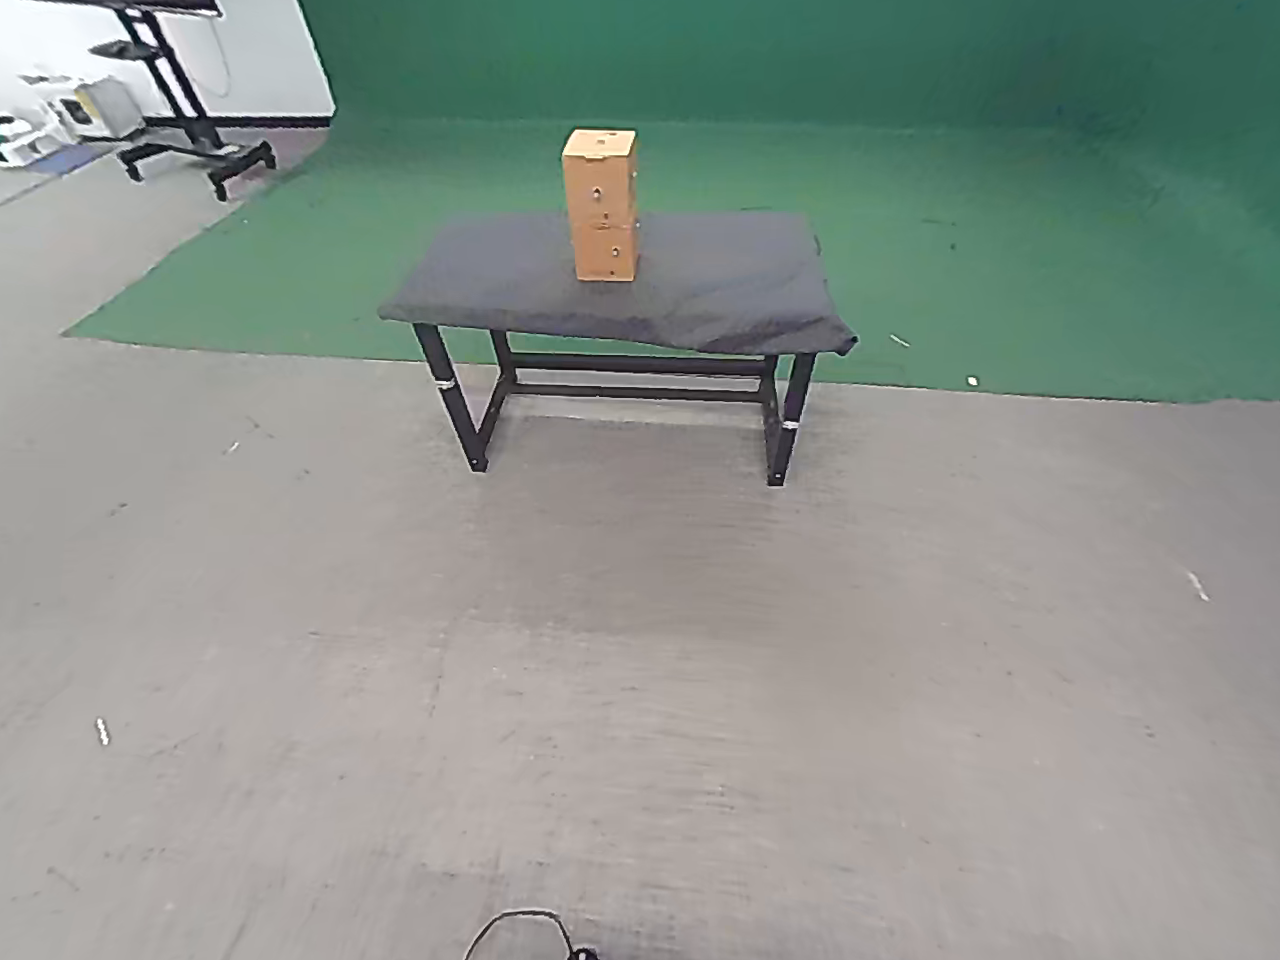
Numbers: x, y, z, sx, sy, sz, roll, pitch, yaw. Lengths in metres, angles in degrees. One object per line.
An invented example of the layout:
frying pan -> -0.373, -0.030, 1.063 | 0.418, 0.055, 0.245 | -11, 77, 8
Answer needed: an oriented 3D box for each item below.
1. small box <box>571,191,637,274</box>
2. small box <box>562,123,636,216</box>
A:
small box -> -0.096, -0.712, 1.555 | 0.168, 0.176, 0.179 | 3, 50, 3
small box -> -0.102, -0.819, 1.431 | 0.168, 0.176, 0.179 | 5, 52, 4
